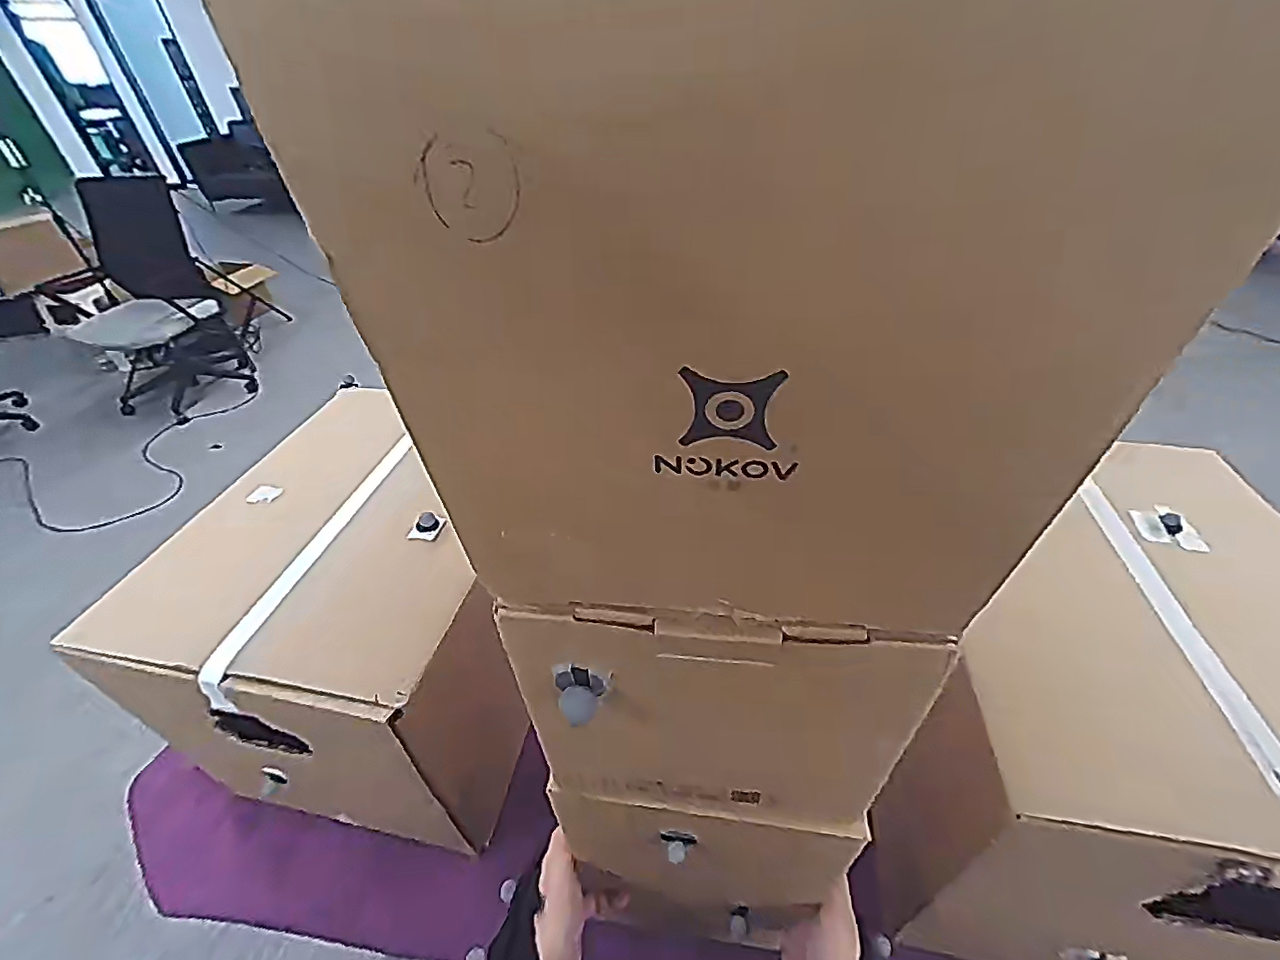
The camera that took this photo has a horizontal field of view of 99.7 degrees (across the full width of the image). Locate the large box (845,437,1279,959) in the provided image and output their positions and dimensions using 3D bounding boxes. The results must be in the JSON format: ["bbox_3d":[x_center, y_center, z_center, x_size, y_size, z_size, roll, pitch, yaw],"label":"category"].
[{"bbox_3d":[0.409,0.201,0.535,0.320,0.320,0.408,5,39,9],"label":"large box"}]

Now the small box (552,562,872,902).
[{"bbox_3d":[0.050,0.183,0.400,0.179,0.176,0.168,4,41,7],"label":"small box"}]
